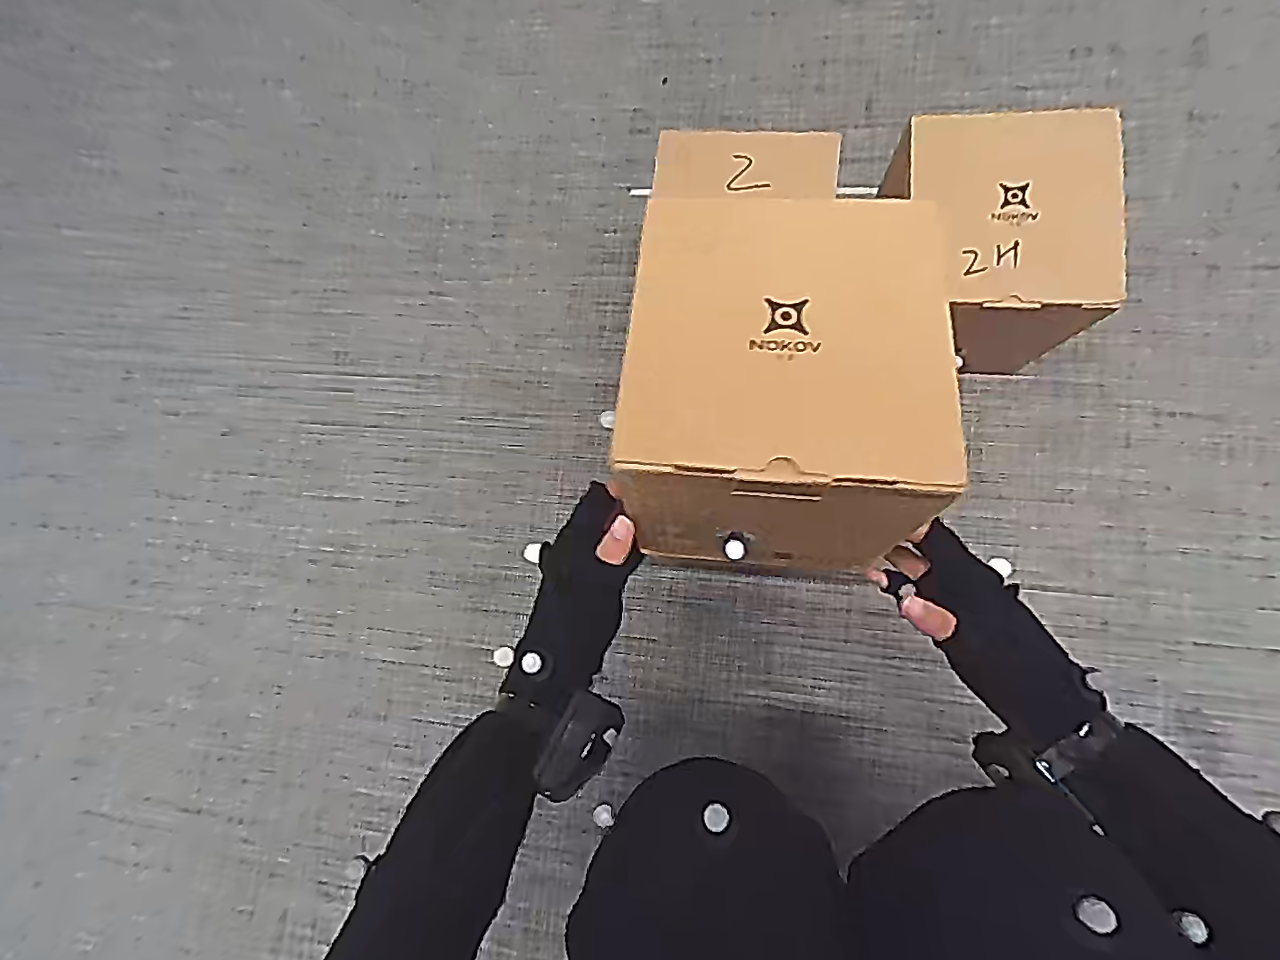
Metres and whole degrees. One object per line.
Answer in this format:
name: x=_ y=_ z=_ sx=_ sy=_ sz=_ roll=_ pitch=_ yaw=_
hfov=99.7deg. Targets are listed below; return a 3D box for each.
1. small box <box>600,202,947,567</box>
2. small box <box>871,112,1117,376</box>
small box: x=0.076 y=-0.051 z=0.359 sx=0.168 sy=0.176 sz=0.179 roll=4 pitch=70 yaw=7
small box: x=0.316 y=-0.216 z=0.530 sx=0.168 sy=0.176 sz=0.179 roll=4 pitch=83 yaw=9
